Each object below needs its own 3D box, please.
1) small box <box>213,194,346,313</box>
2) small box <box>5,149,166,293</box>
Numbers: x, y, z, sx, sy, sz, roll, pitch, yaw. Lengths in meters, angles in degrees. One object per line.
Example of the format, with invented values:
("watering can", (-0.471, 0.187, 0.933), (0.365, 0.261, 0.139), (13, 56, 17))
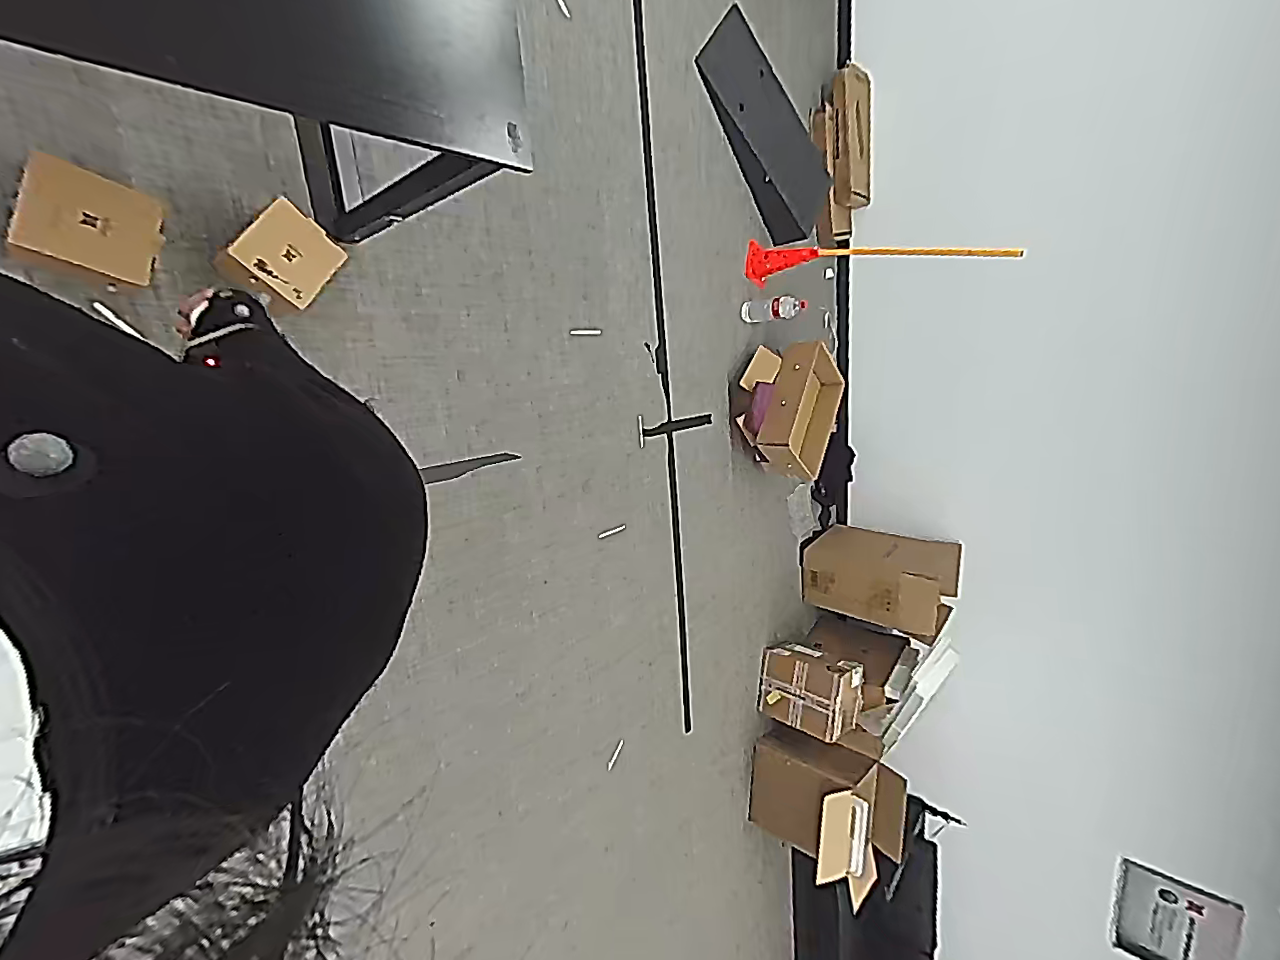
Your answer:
("small box", (-0.812, -0.500, 1.215), (0.168, 0.176, 0.179), (44, 63, -42))
("small box", (-1.016, -0.459, 0.994), (0.179, 0.176, 0.168), (13, 85, -48))
